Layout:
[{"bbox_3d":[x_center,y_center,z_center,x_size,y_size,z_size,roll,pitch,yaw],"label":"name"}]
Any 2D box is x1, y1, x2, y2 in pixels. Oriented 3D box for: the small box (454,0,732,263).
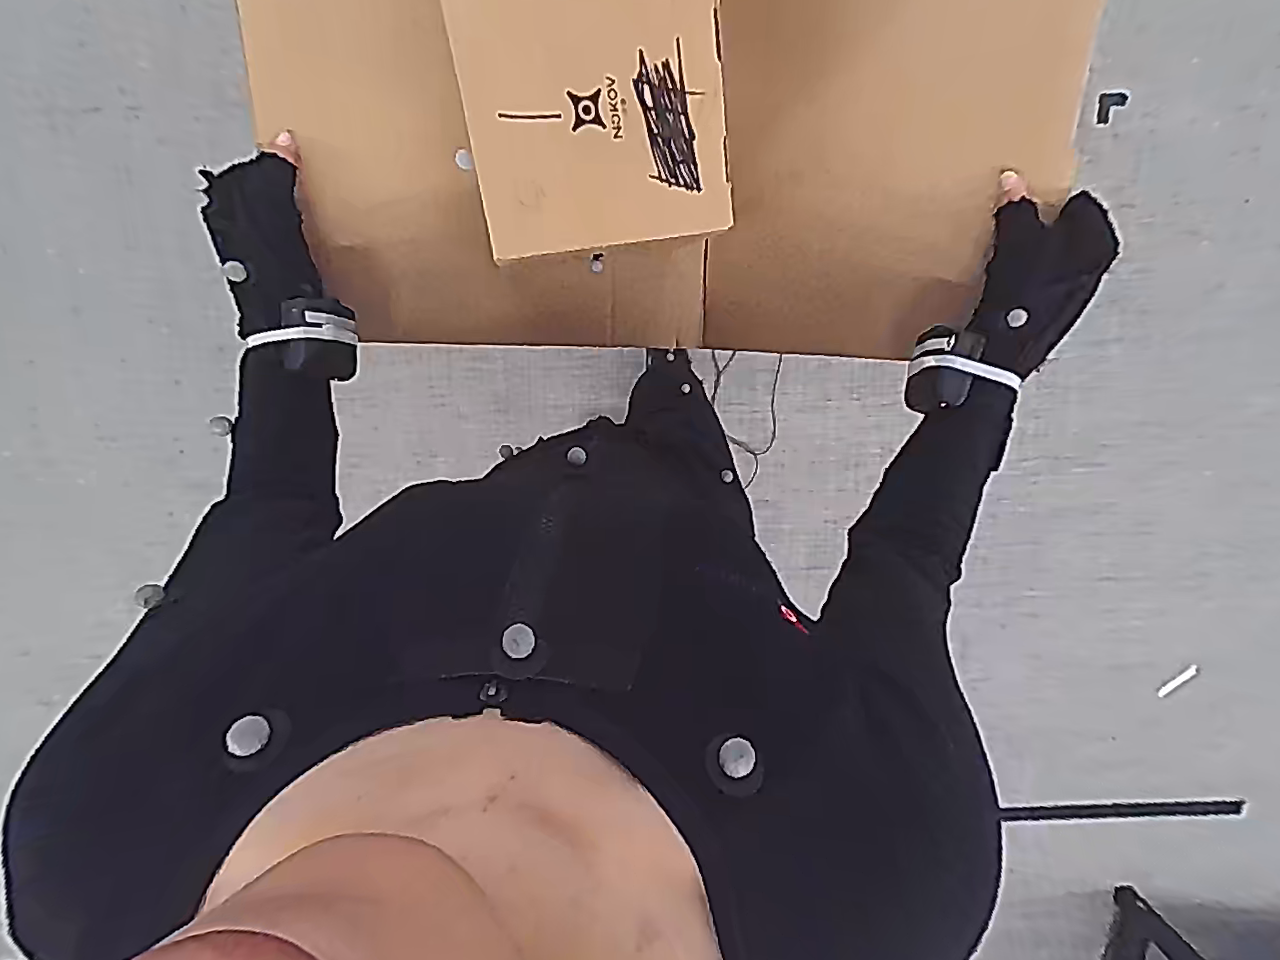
[{"bbox_3d":[-0.040,-0.278,0.442,0.179,0.176,0.168,-11,109,-8],"label":"small box"}]
